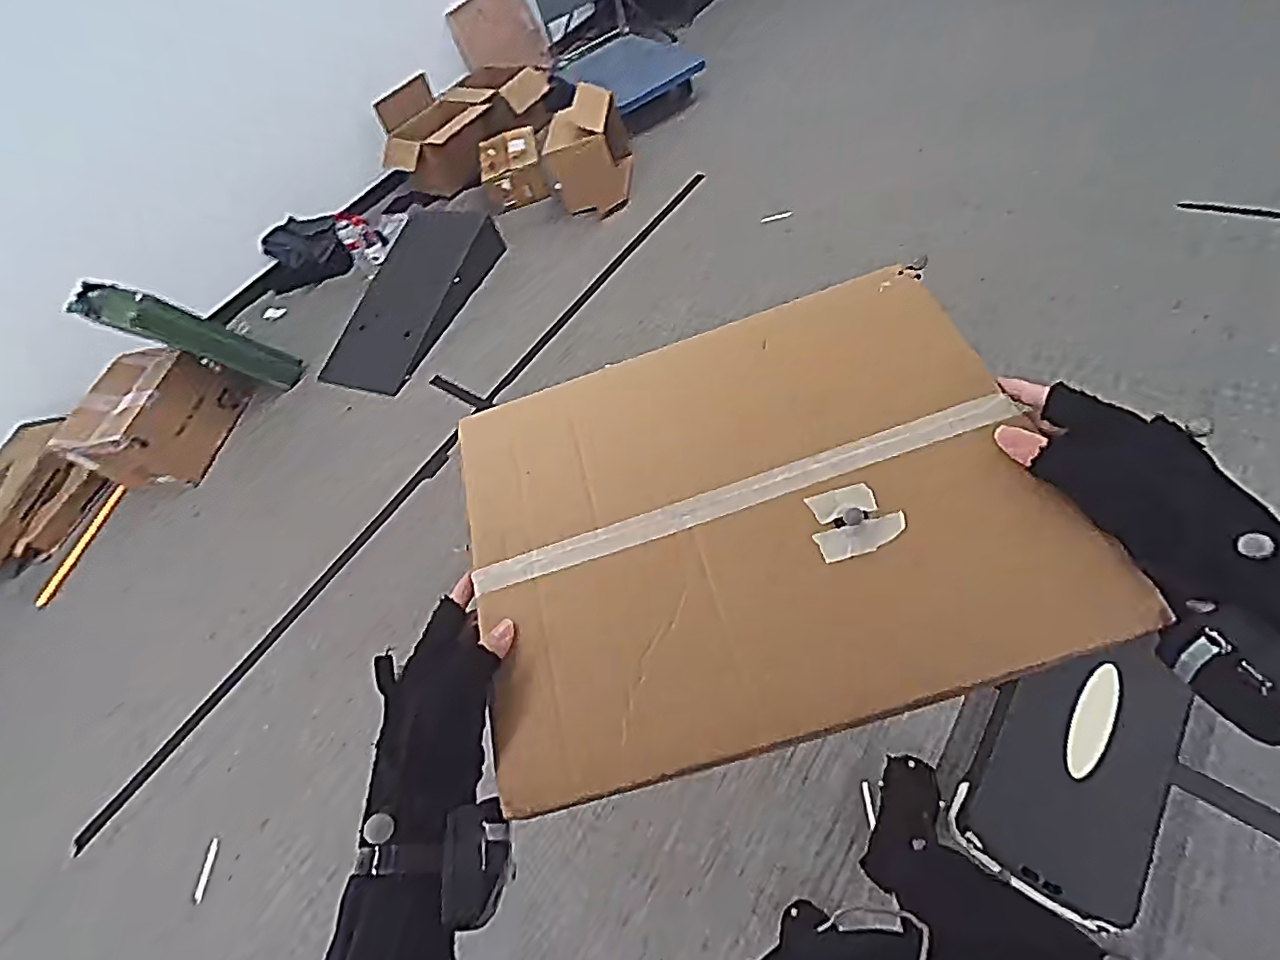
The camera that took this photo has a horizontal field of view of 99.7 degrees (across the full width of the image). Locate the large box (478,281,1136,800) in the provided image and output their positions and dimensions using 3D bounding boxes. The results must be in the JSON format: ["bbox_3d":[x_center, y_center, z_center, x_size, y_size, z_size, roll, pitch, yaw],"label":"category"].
[{"bbox_3d":[0.105,0.083,0.536,0.408,0.320,0.320,-18,61,3],"label":"large box"}]
